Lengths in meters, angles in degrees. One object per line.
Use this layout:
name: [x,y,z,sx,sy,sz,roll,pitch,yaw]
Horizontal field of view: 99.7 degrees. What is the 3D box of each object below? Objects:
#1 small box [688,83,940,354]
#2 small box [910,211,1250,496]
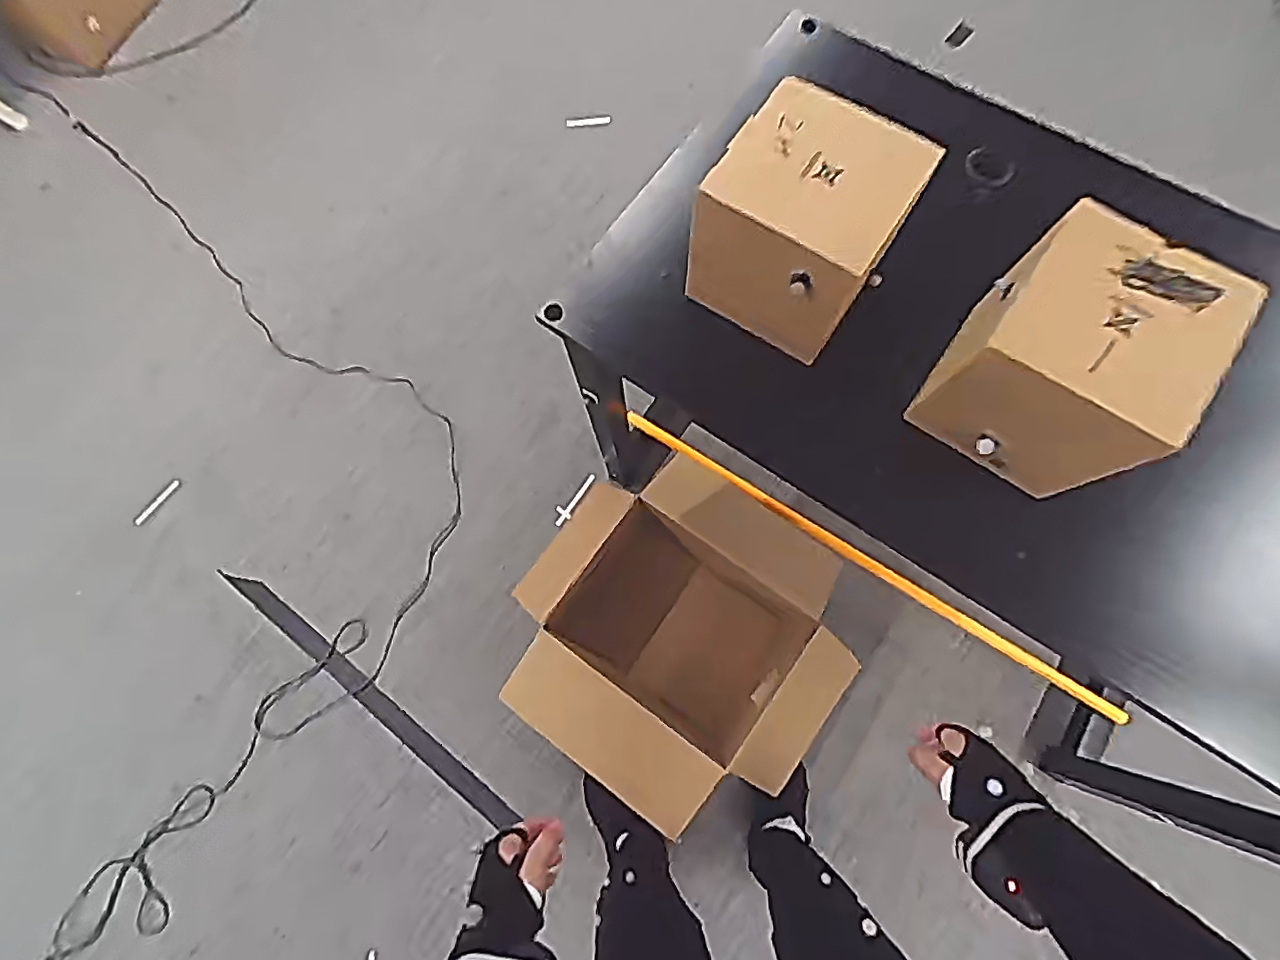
small box: [0.169,-0.262,0.582,0.179,0.176,0.168,34,78,10]
small box: [0.406,-0.110,0.534,0.168,0.176,0.179,35,79,11]
